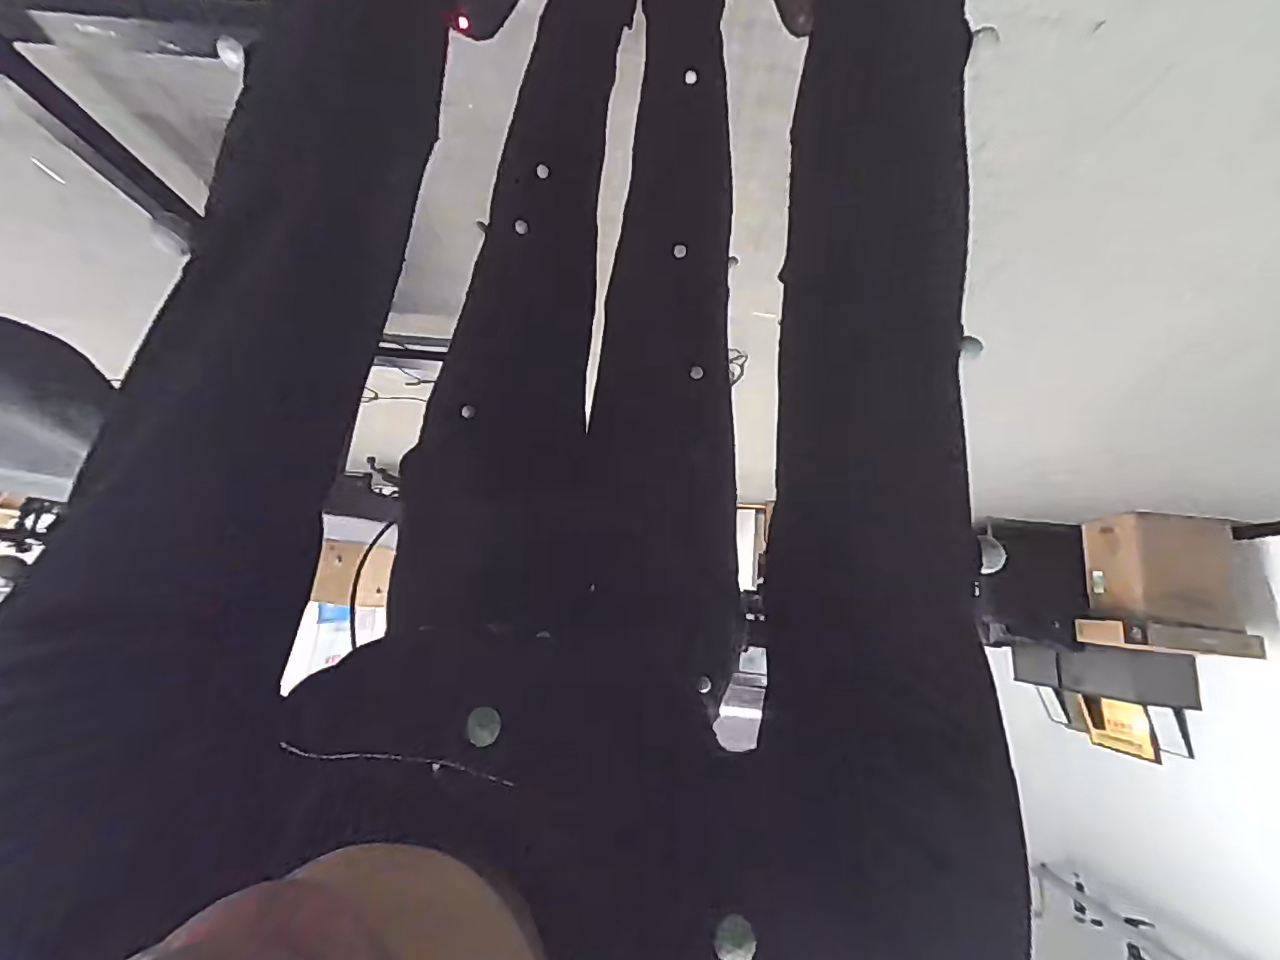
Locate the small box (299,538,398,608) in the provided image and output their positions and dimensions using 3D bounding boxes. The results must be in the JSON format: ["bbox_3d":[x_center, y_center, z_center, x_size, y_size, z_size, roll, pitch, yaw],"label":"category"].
[{"bbox_3d":[-0.808,0.263,1.520,0.168,0.176,0.179,5,166,4],"label":"small box"}]
